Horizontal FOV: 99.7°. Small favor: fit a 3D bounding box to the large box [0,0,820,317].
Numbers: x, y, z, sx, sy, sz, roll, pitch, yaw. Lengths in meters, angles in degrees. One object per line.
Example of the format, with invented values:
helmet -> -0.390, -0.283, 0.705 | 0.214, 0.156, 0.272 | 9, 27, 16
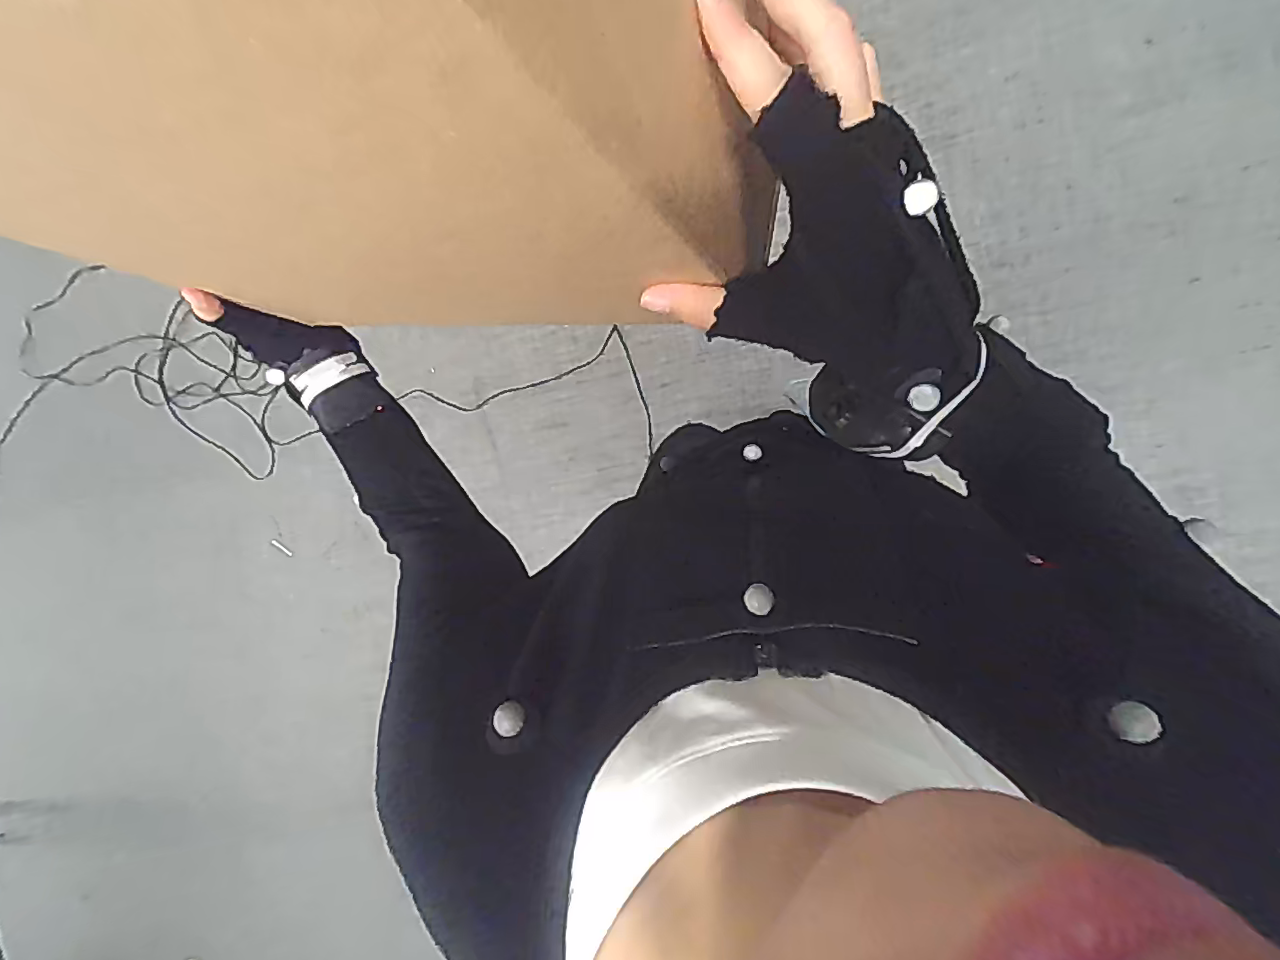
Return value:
large box -> -0.150, -0.274, 0.233 | 0.408, 0.320, 0.320 | 8, 91, 28
